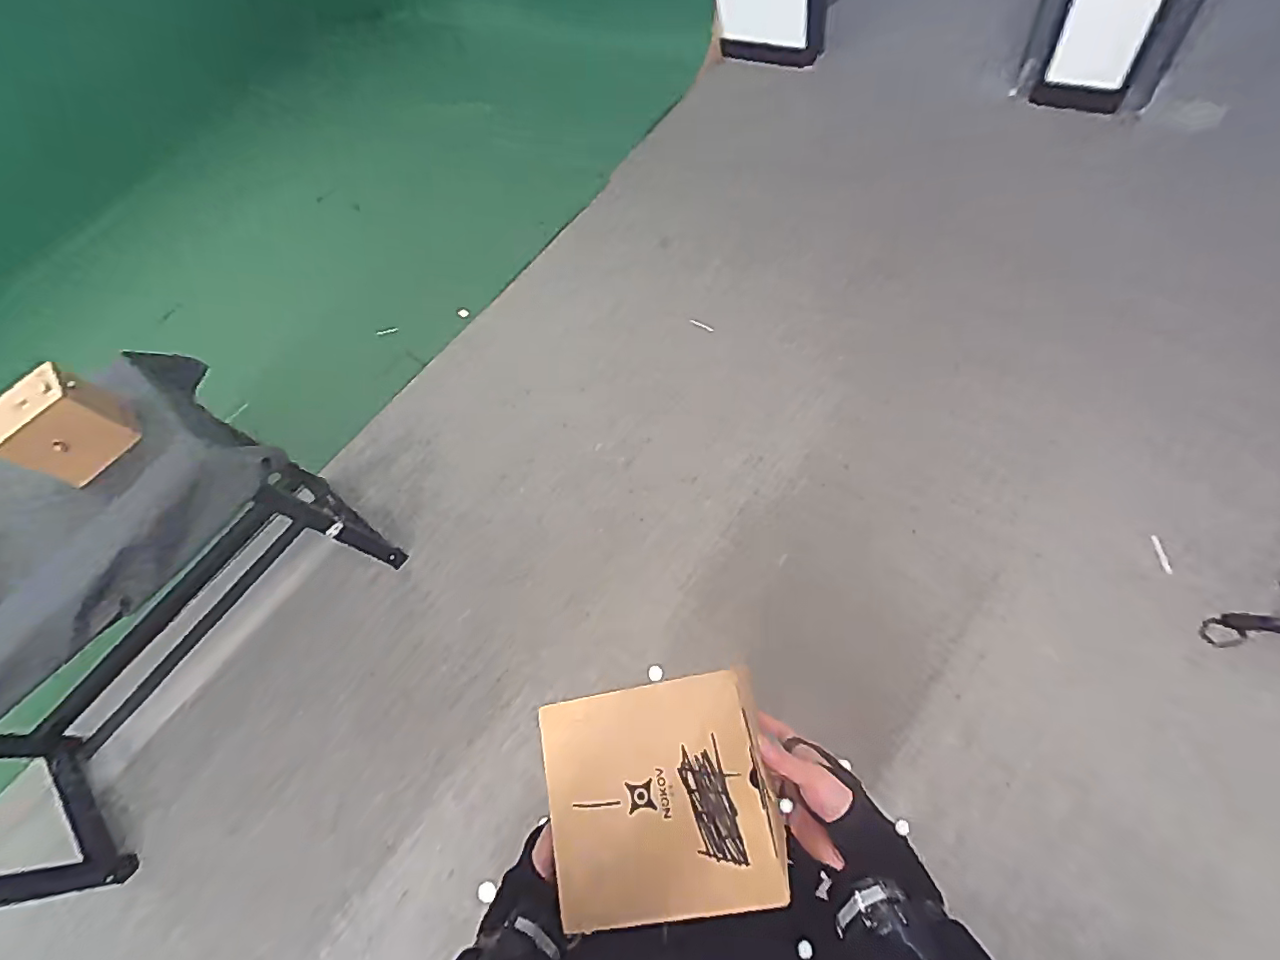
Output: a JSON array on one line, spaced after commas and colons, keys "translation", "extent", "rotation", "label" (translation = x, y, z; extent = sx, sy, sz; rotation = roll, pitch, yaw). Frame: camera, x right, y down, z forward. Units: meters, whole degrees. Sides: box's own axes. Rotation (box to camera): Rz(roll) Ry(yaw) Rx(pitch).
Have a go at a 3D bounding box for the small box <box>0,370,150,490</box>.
[{"translation": [-1.276, -0.106, 1.221], "extent": [0.168, 0.176, 0.179], "rotation": [39, 80, 28], "label": "small box"}]
